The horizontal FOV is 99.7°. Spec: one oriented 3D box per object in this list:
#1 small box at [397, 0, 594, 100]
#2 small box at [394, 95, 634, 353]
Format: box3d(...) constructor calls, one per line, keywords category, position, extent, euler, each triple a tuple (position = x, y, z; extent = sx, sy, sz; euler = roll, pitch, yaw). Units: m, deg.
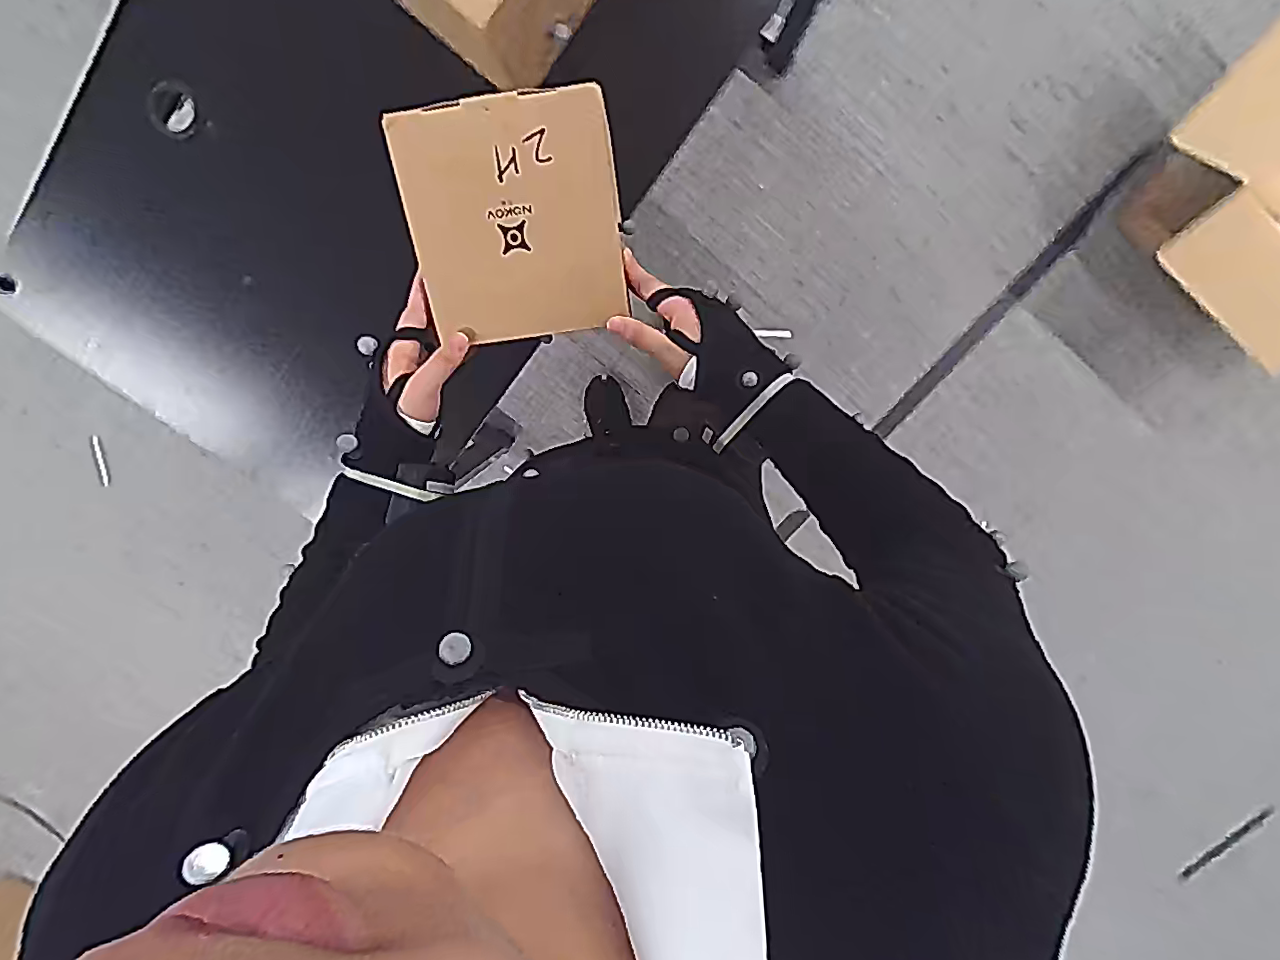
box3d(category="small box", position=(-0.161, -0.531, 0.535), extent=(0.179, 0.176, 0.168), euler=(38, 102, -8))
box3d(category="small box", position=(-0.095, -0.226, 0.506), extent=(0.168, 0.176, 0.179), euler=(-6, 111, 2))
